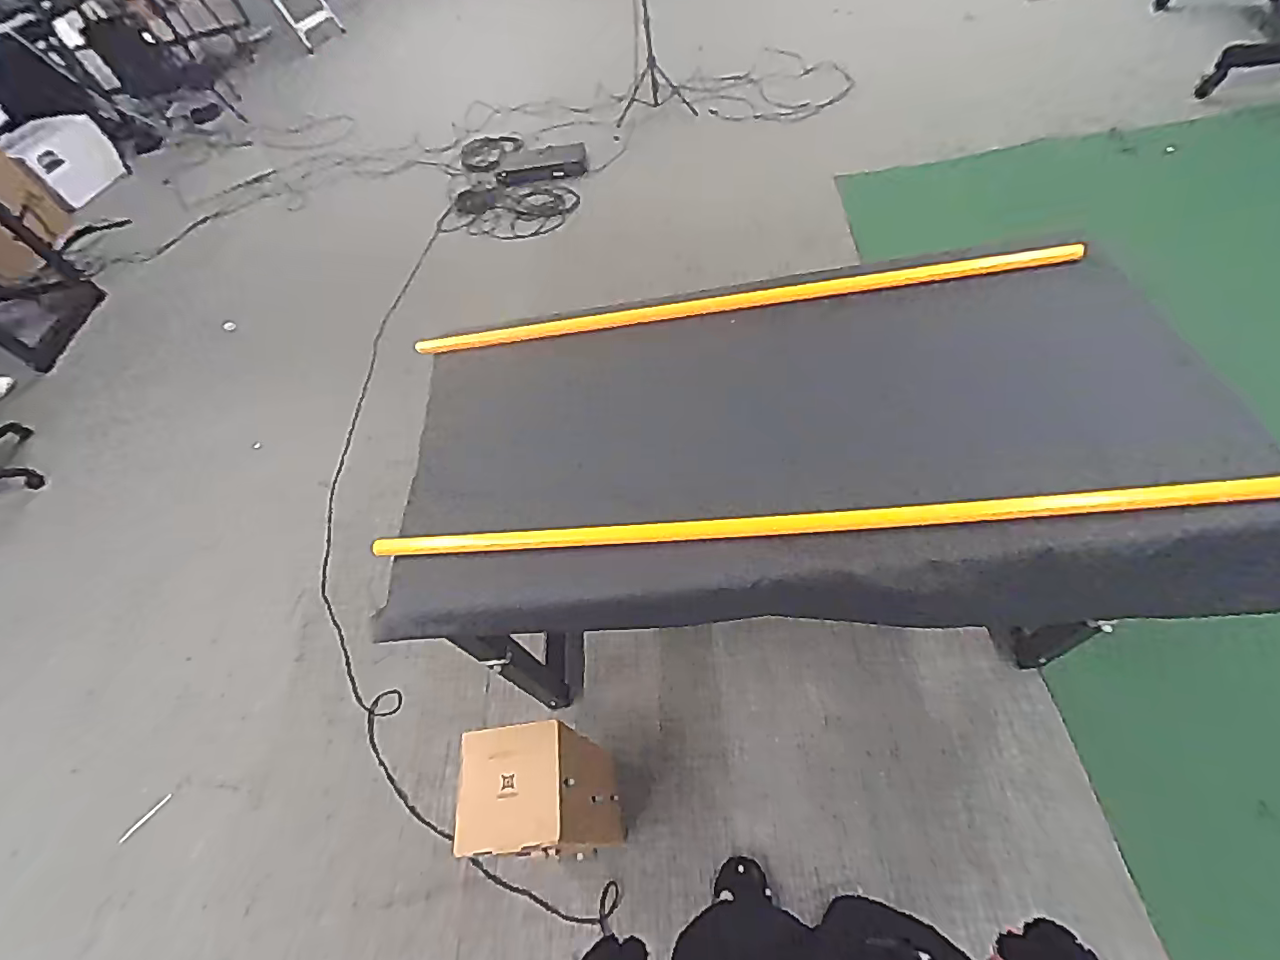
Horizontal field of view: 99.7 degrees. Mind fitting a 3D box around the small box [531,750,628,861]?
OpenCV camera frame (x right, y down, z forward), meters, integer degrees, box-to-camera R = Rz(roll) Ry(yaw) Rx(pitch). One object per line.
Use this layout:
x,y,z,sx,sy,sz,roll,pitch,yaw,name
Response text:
-0.128,0.709,1.173,0.168,0.176,0.179,-14,55,2,small box
